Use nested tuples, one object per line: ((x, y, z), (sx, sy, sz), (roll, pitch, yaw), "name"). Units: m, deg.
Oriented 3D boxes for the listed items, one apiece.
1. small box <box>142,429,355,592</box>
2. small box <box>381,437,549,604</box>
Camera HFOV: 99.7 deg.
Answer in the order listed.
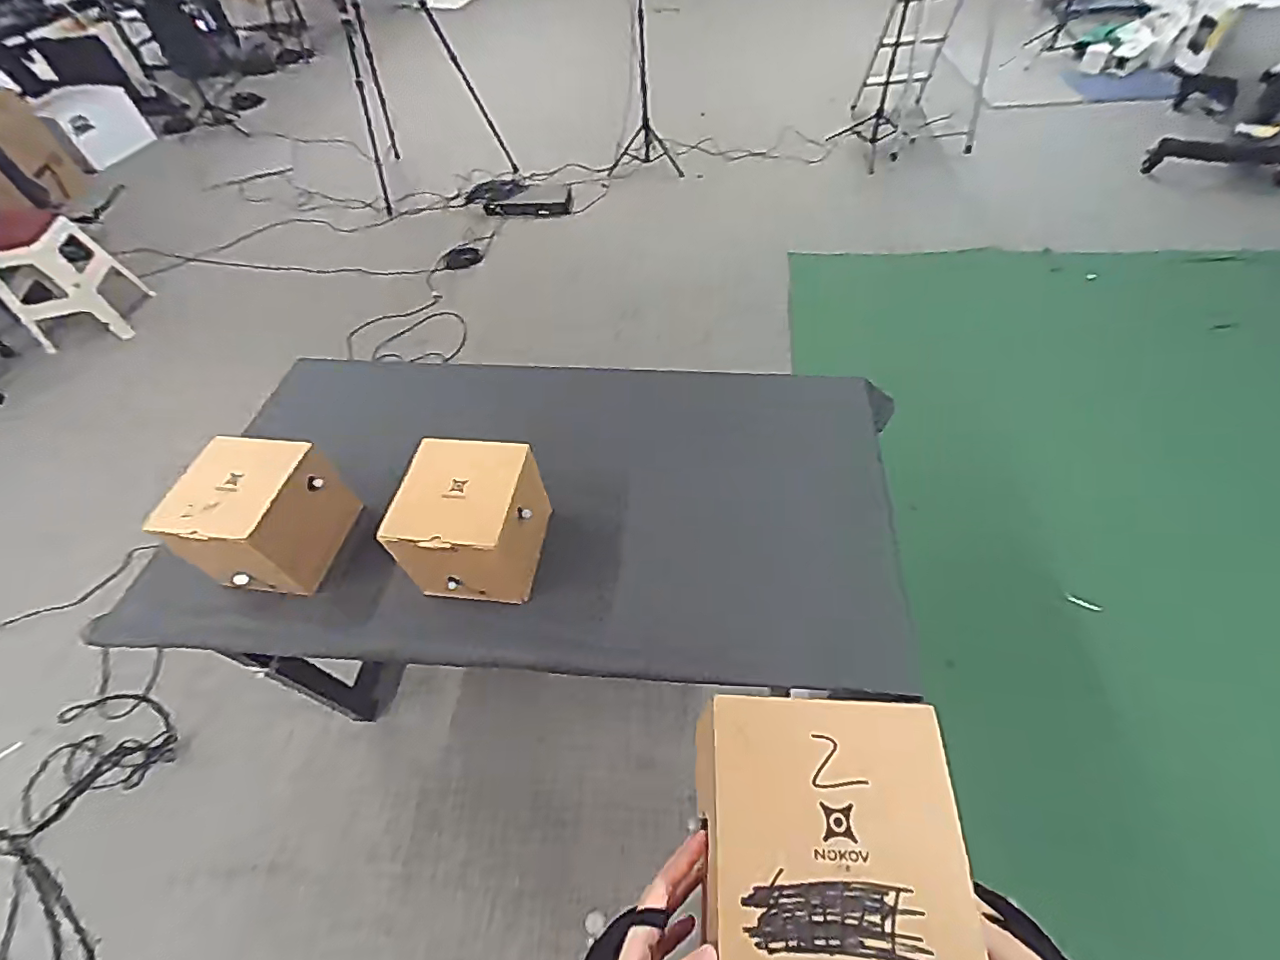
((-0.571, 0.048, 0.825), (0.168, 0.176, 0.179), (5, 52, 8), "small box")
((-0.240, 0.061, 0.799), (0.168, 0.176, 0.179), (5, 53, 7), "small box")
